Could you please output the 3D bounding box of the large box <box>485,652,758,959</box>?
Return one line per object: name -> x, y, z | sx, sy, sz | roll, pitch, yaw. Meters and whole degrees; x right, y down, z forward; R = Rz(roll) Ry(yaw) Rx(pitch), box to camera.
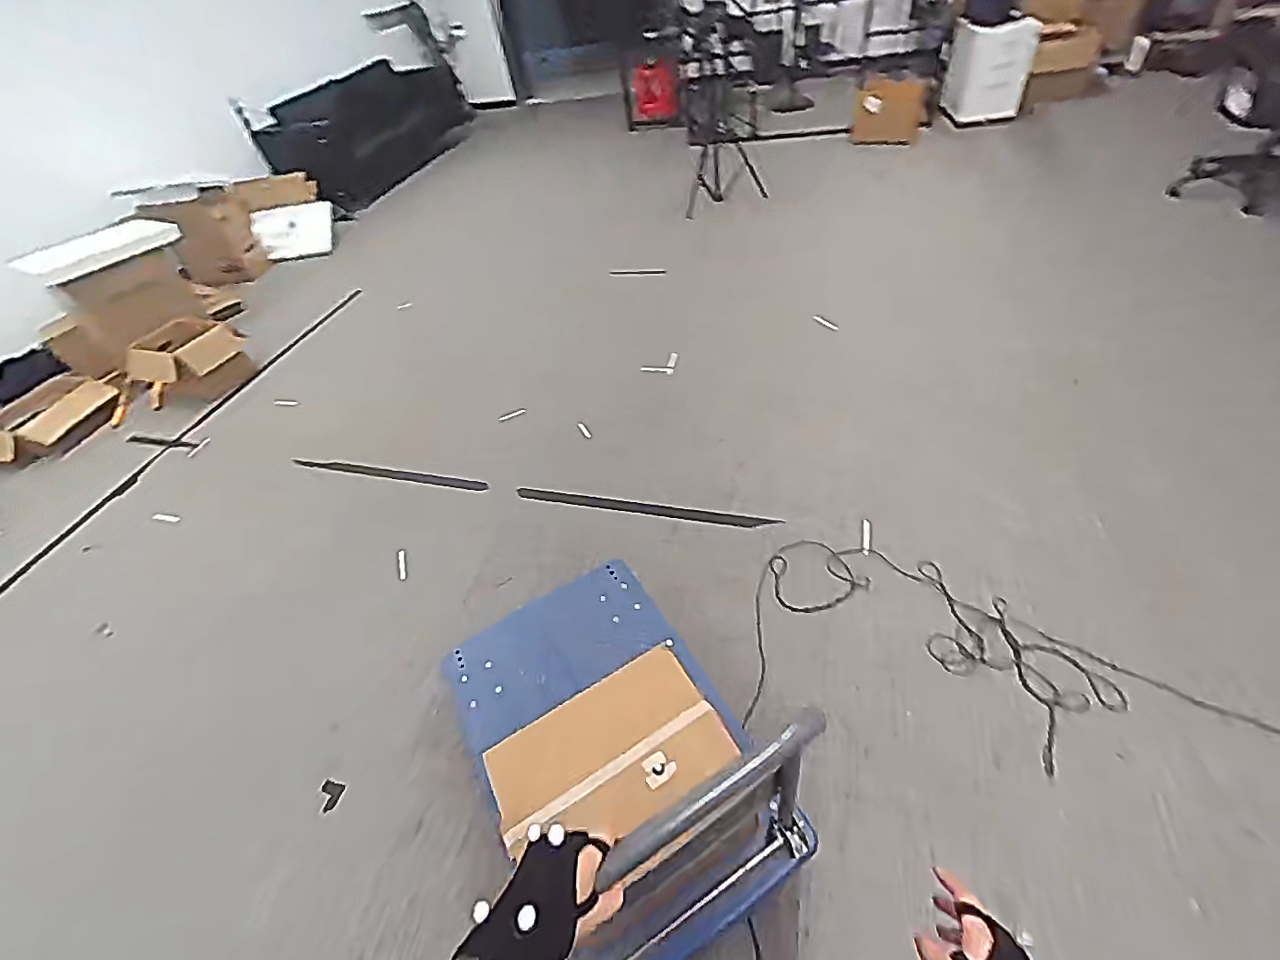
large box -> -0.024, 0.625, 1.051 | 0.408, 0.320, 0.320 | -27, 48, -16
